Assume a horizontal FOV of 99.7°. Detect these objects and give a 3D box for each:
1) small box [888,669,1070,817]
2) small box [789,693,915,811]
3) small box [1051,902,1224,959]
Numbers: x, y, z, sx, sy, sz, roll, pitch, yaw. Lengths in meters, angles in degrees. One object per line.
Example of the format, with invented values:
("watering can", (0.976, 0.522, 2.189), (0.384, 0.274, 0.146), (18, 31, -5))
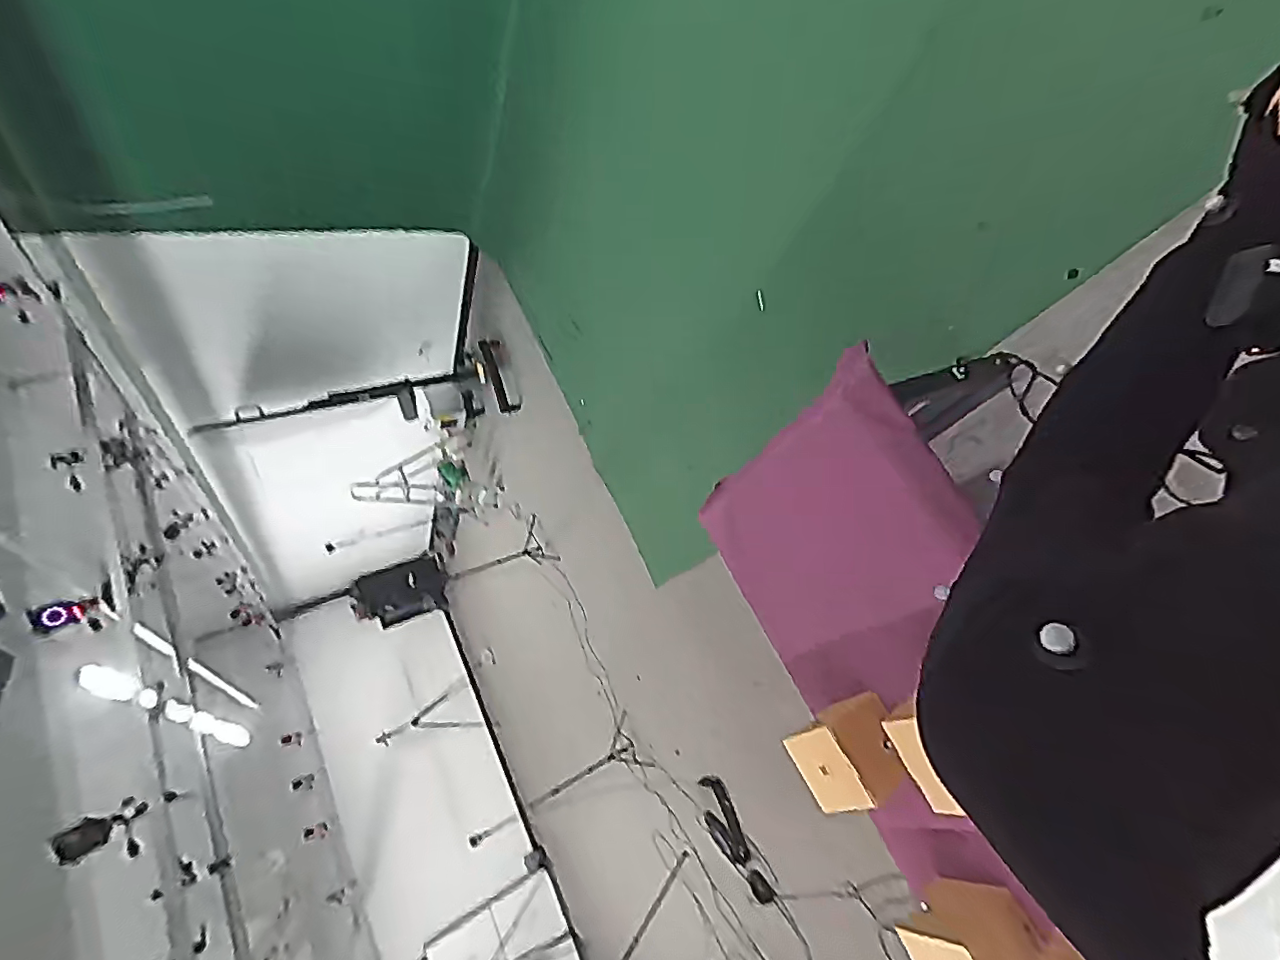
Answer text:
("small box", (0.586, 0.452, 0.940), (0.168, 0.176, 0.179), (61, 148, 16))
("small box", (0.473, 0.599, 1.192), (0.168, 0.176, 0.179), (59, 145, 21))
("small box", (0.771, 0.781, 0.808), (0.168, 0.176, 0.179), (63, 149, 15))
